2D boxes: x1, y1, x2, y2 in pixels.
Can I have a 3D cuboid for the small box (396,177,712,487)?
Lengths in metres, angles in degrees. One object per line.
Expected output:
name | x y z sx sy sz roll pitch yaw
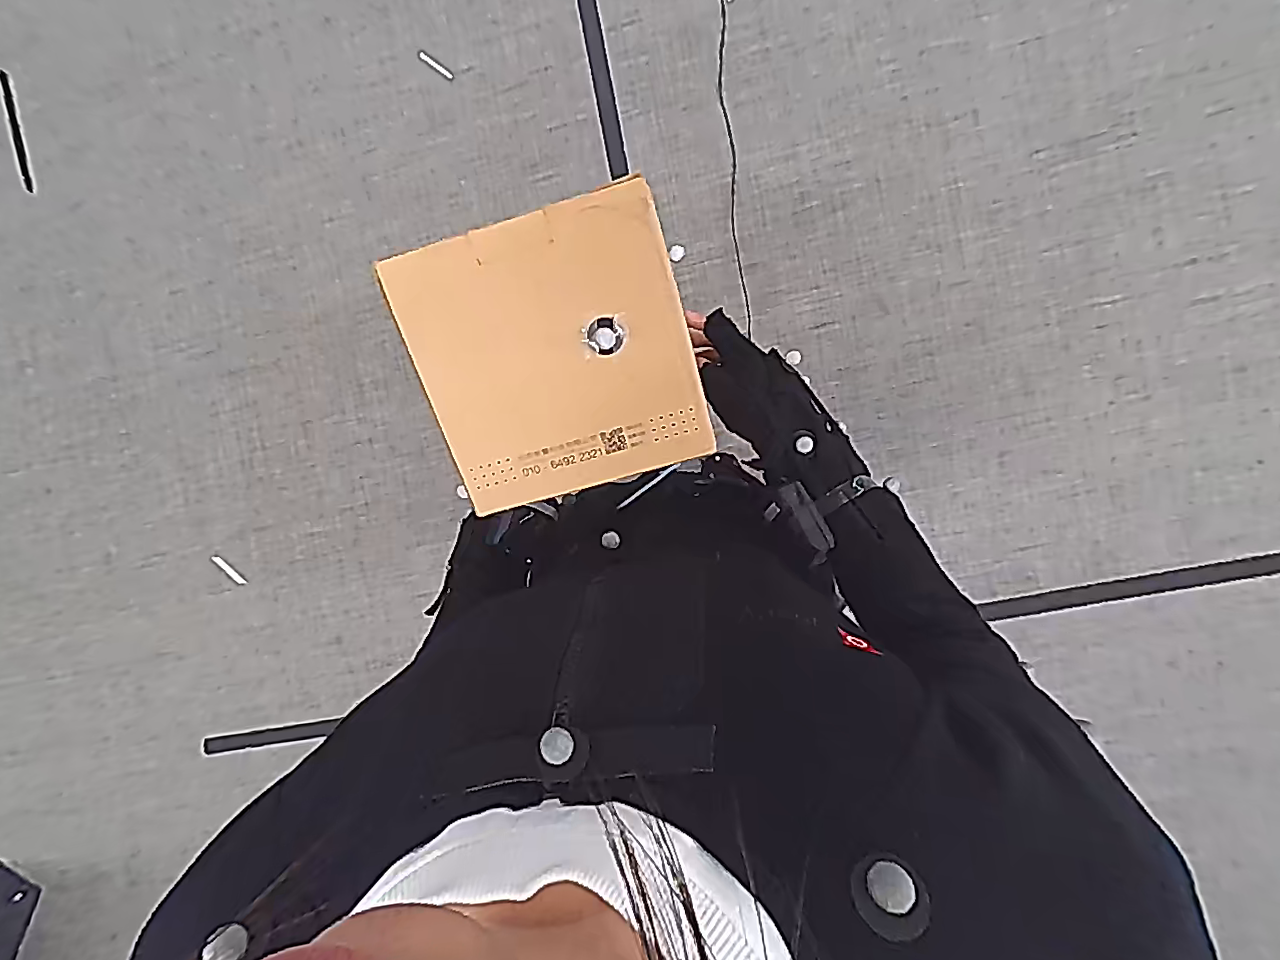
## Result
small box | -0.046 -0.105 0.421 0.168 0.179 0.176 -14 109 7
